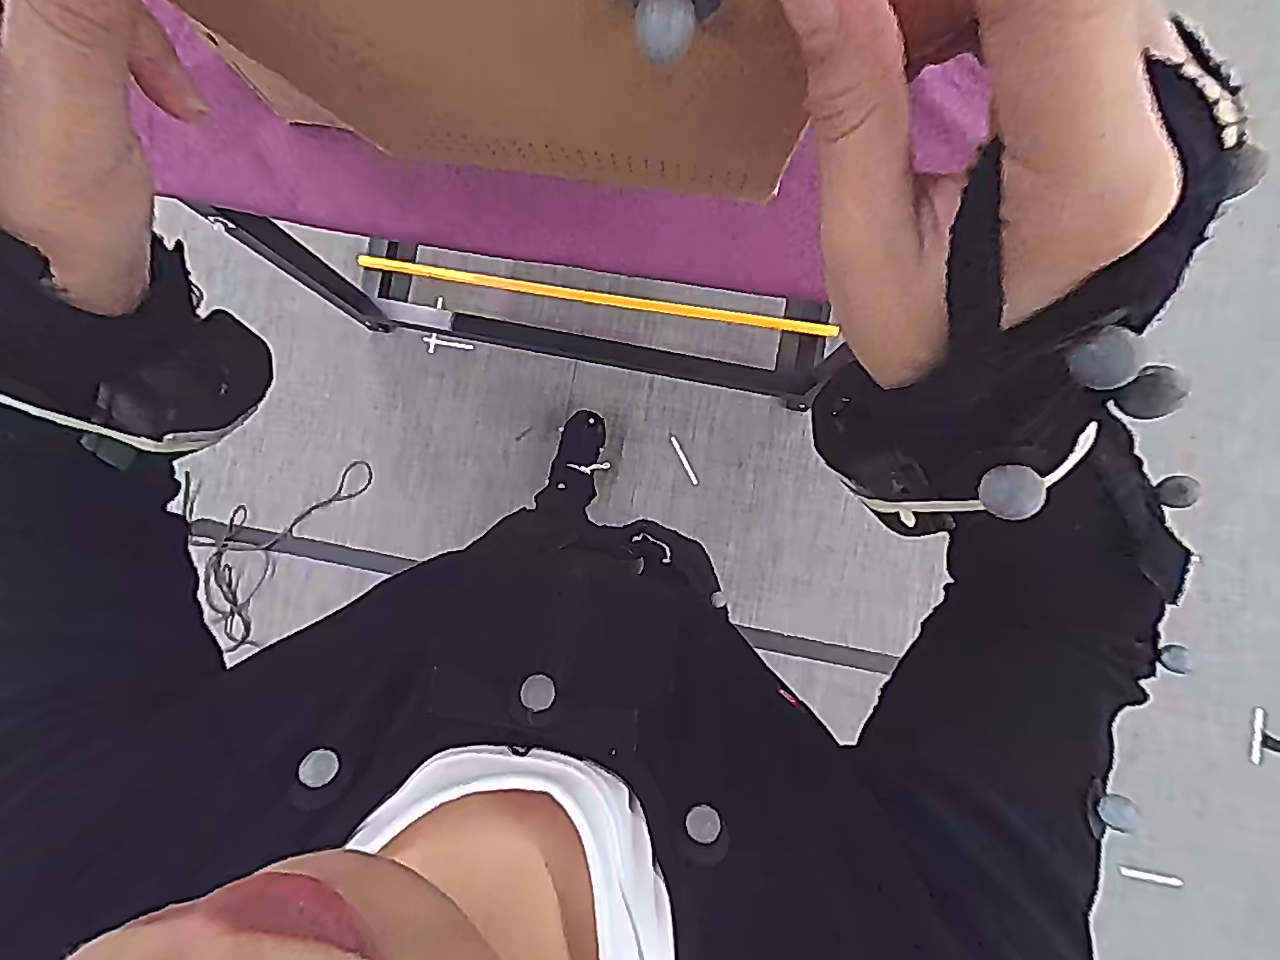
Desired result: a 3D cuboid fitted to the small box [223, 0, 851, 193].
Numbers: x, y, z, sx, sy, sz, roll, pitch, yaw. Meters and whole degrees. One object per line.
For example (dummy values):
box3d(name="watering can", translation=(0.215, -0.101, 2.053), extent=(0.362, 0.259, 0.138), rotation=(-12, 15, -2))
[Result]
box3d(name="small box", translation=(-0.023, -0.193, 0.140), extent=(0.179, 0.176, 0.168), rotation=(8, 103, 2))
